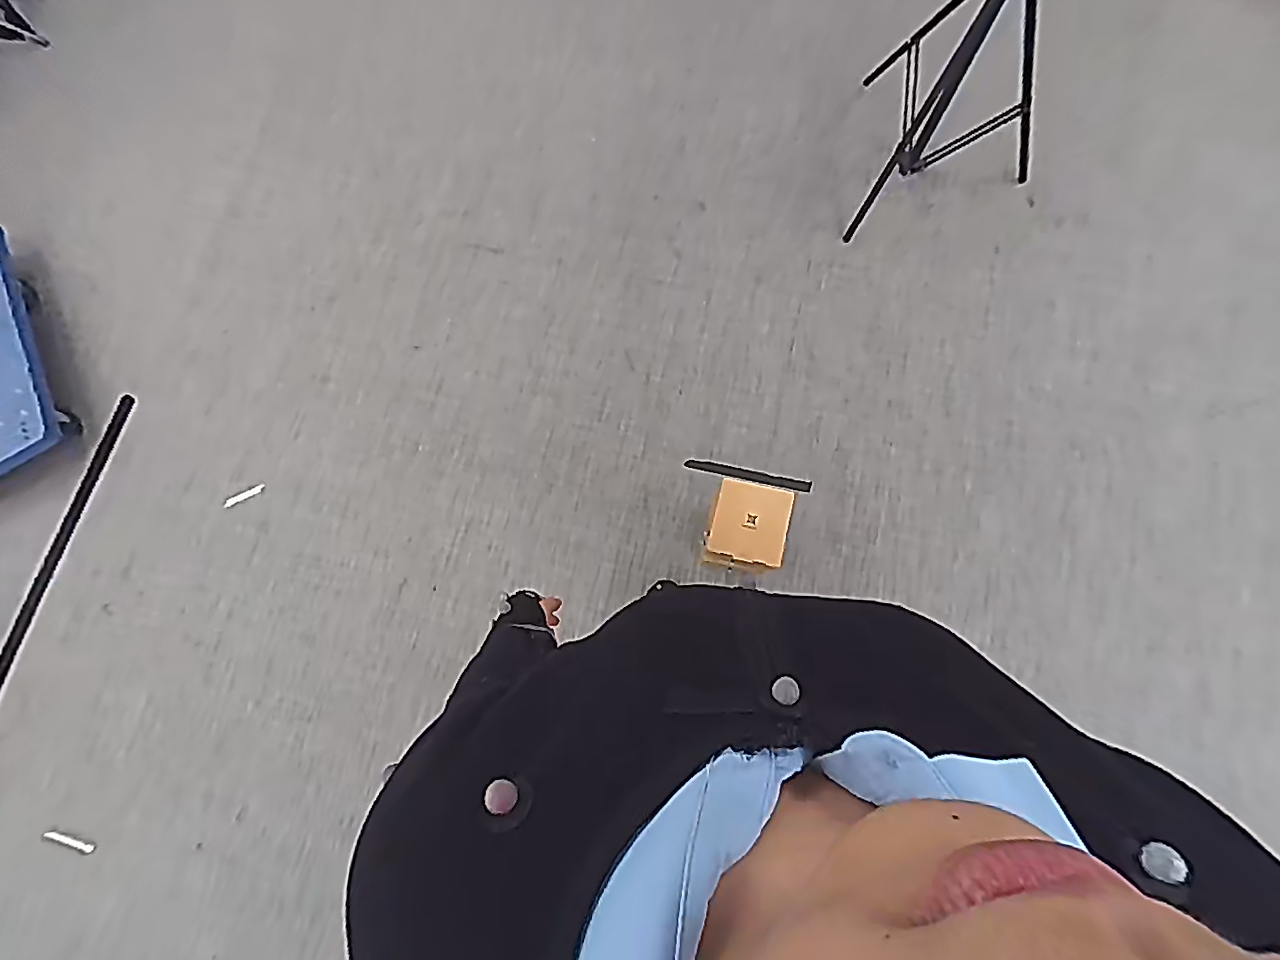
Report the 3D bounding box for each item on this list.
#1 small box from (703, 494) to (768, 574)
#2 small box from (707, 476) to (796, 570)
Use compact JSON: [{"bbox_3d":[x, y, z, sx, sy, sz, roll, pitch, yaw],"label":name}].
[{"bbox_3d":[0.263,0.150,1.438,0.168,0.176,0.179,11,78,6],"label":"small box"},{"bbox_3d":[0.257,0.107,1.281,0.168,0.176,0.179,13,80,7],"label":"small box"}]
